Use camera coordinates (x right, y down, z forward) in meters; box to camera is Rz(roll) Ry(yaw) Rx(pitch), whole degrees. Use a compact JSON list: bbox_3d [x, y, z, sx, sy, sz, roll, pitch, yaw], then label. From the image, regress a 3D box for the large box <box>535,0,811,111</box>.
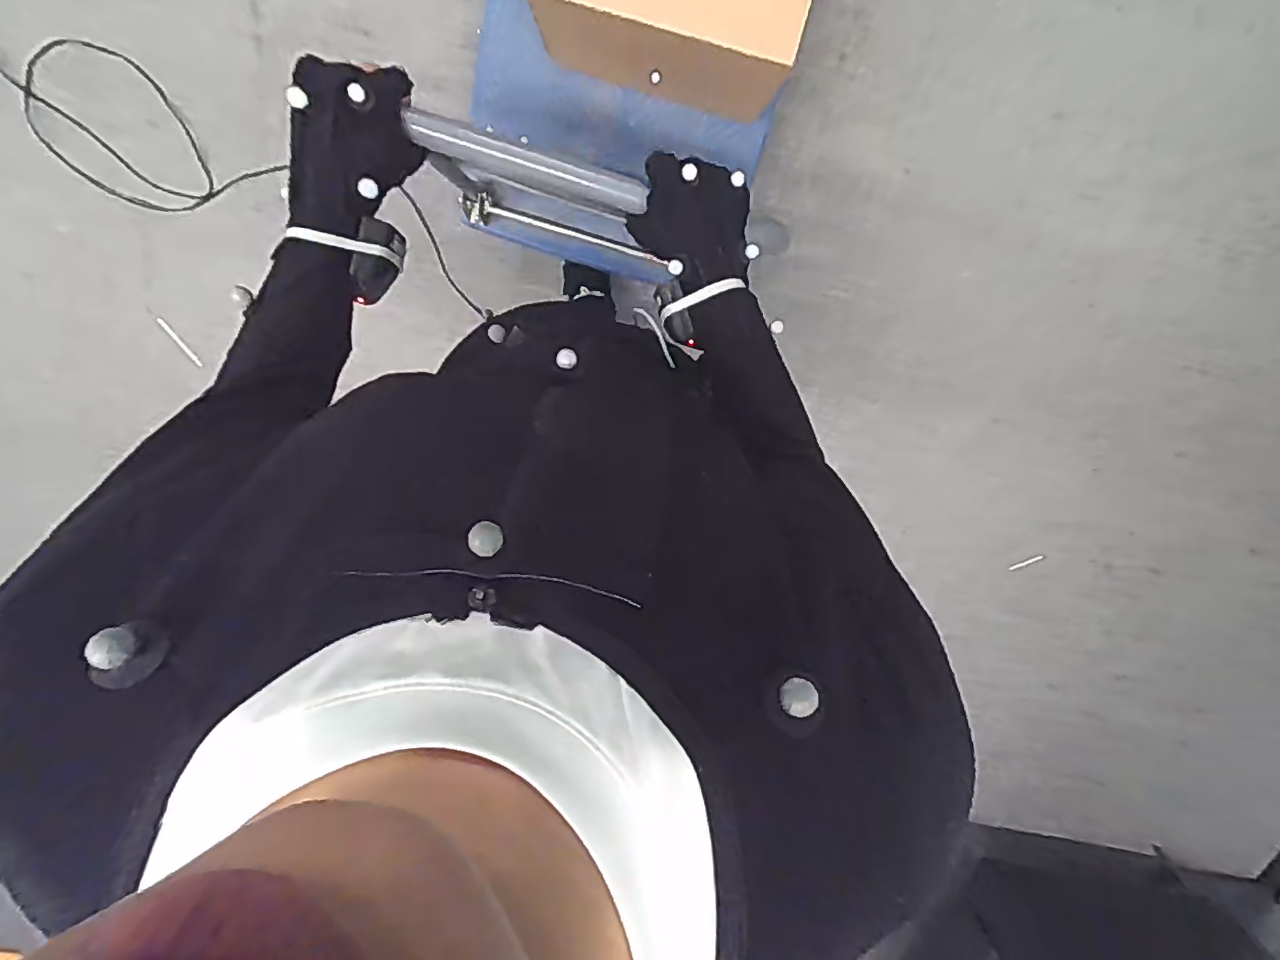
[{"bbox_3d":[0.071,-0.852,0.876,0.408,0.320,0.320,12,110,-4],"label":"large box"}]
